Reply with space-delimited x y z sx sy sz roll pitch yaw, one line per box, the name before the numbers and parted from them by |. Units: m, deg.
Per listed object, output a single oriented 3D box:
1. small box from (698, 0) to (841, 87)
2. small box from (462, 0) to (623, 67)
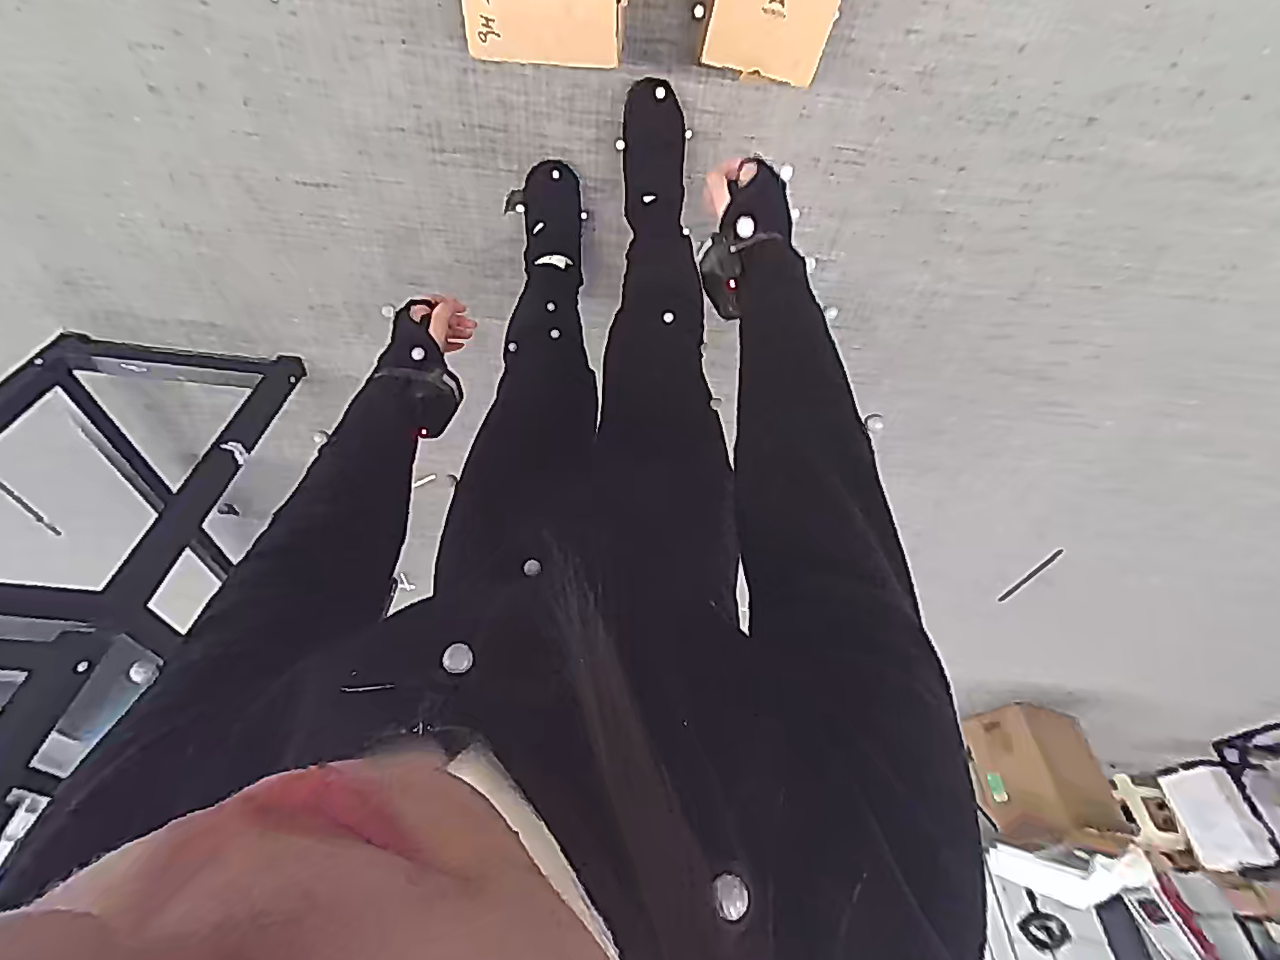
small box | 0.182 -0.692 0.753 0.168 0.176 0.179 8 139 -9
small box | -0.105 -0.598 0.613 0.179 0.176 0.168 3 140 -3
